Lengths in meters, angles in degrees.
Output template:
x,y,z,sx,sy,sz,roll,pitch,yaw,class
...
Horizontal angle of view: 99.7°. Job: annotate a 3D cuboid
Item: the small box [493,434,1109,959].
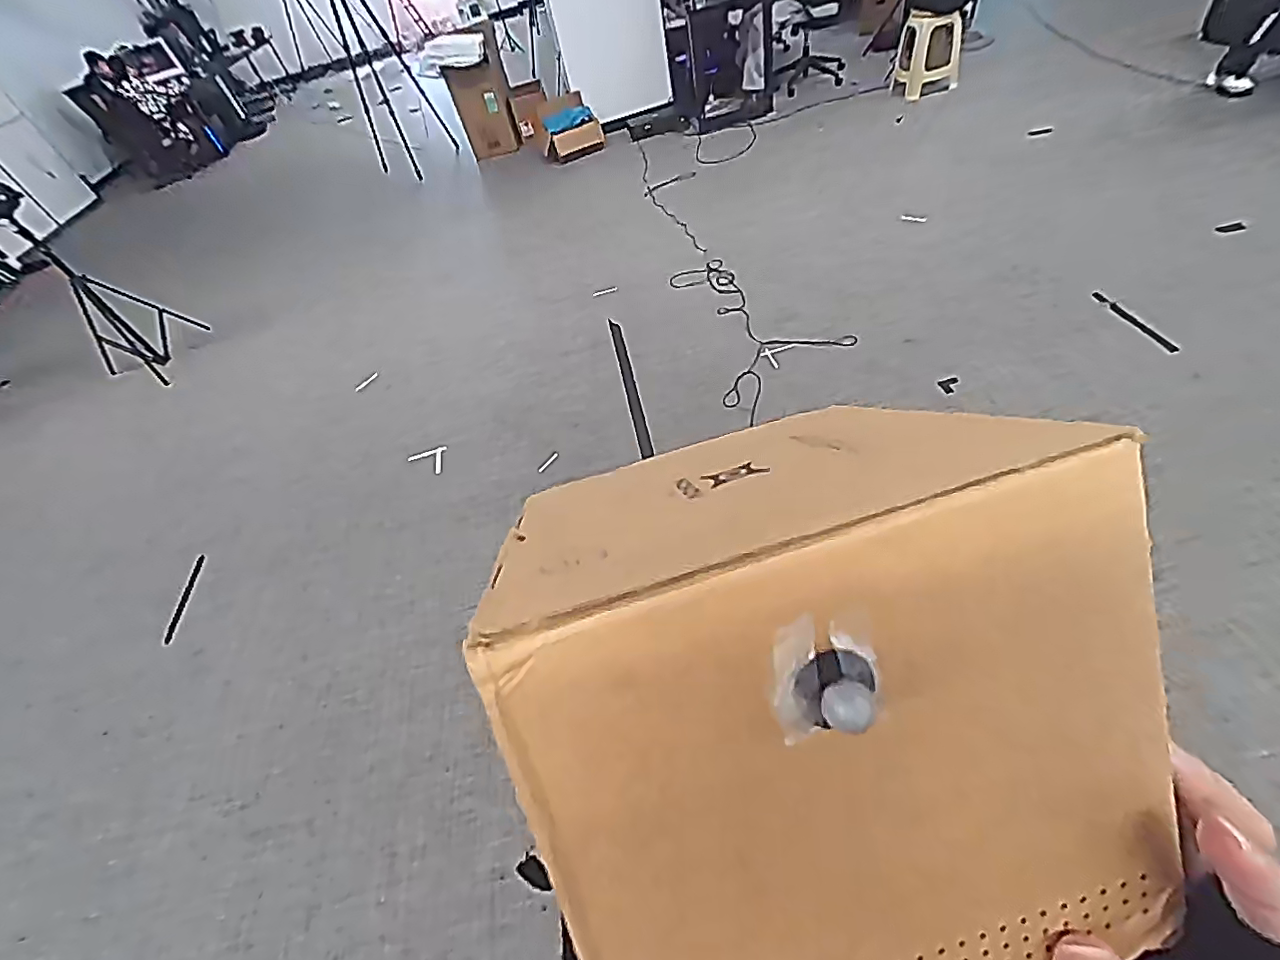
x,y,z,sx,sy,sz,roll,pitch,yaw,class
0.057,0.088,0.241,0.179,0.176,0.168,-17,11,-3,small box
